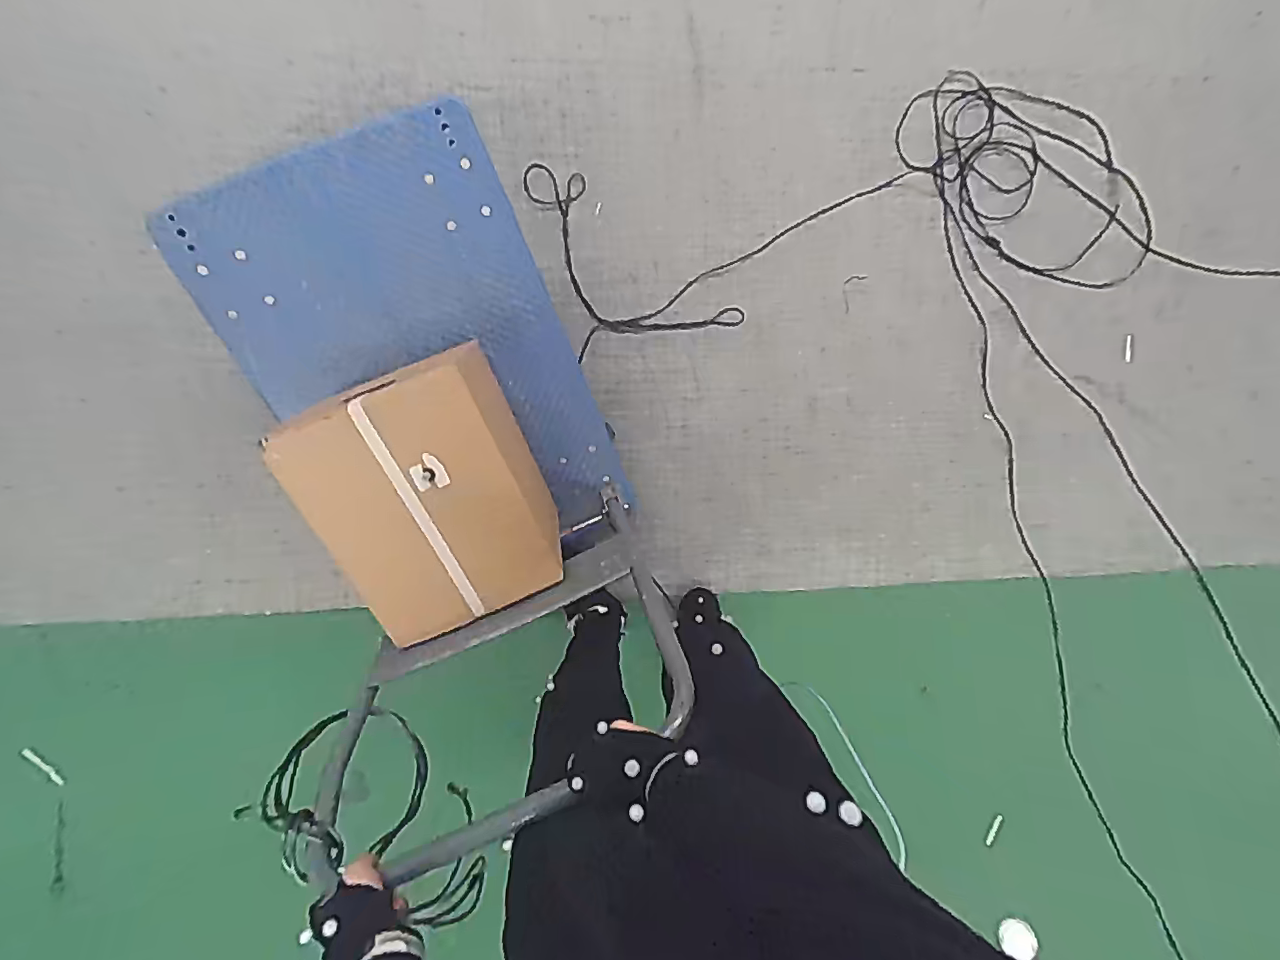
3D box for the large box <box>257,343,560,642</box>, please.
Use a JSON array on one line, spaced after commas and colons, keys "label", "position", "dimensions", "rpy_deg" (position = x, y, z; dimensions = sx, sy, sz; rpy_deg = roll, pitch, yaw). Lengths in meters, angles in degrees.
[{"label": "large box", "position": [-0.370, 0.006, 0.997], "dimensions": [0.320, 0.320, 0.408], "rpy_deg": [-23, 113, -2]}]
